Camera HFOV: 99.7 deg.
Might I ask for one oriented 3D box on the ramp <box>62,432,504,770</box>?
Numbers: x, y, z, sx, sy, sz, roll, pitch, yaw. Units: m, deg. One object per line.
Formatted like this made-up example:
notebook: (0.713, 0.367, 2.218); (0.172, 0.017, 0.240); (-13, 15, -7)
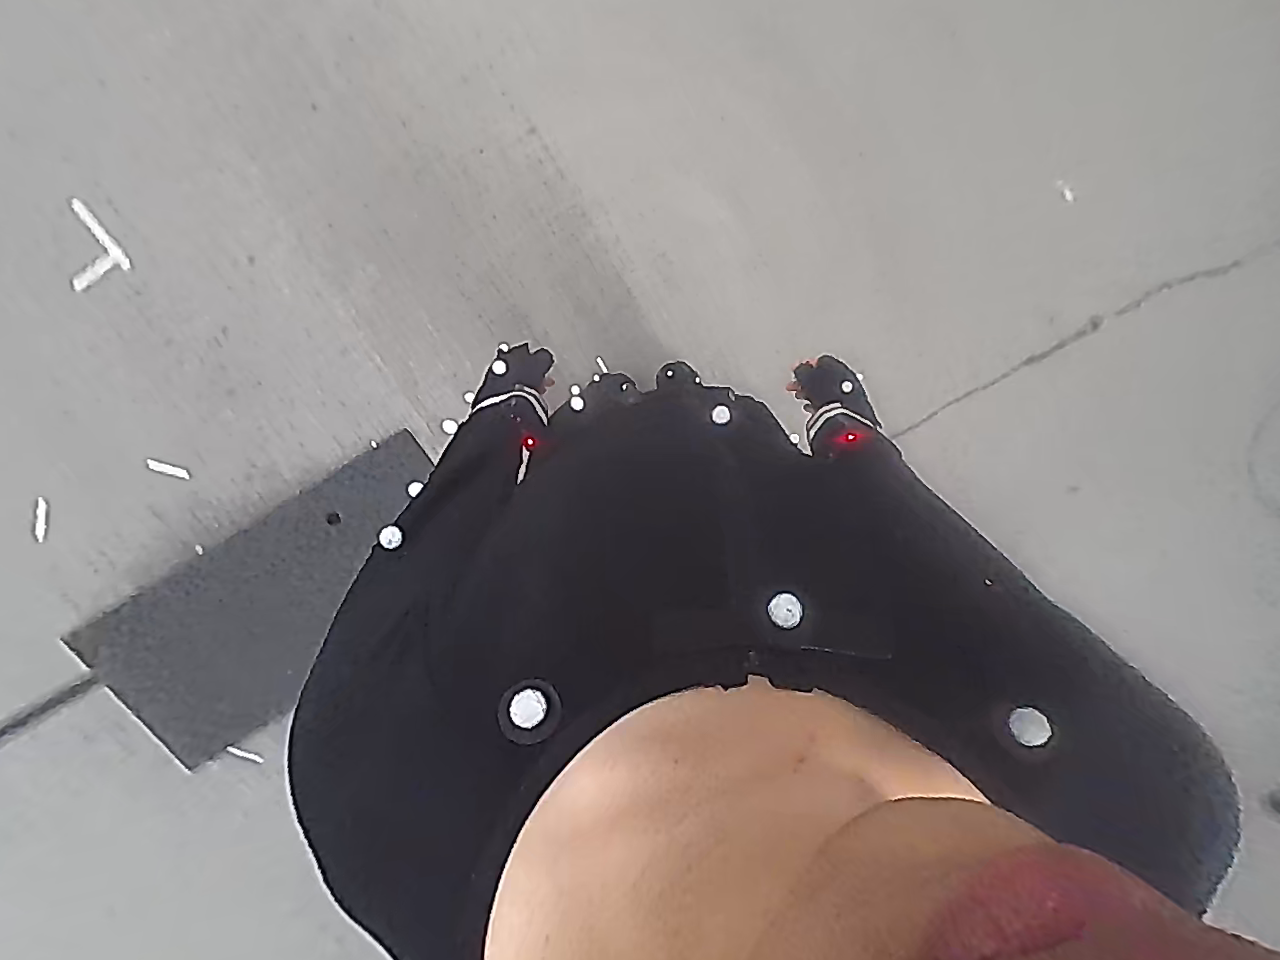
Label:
ramp: (-0.928, 0.327, 1.464); (0.991, 0.206, 0.509); (-32, 102, 6)
